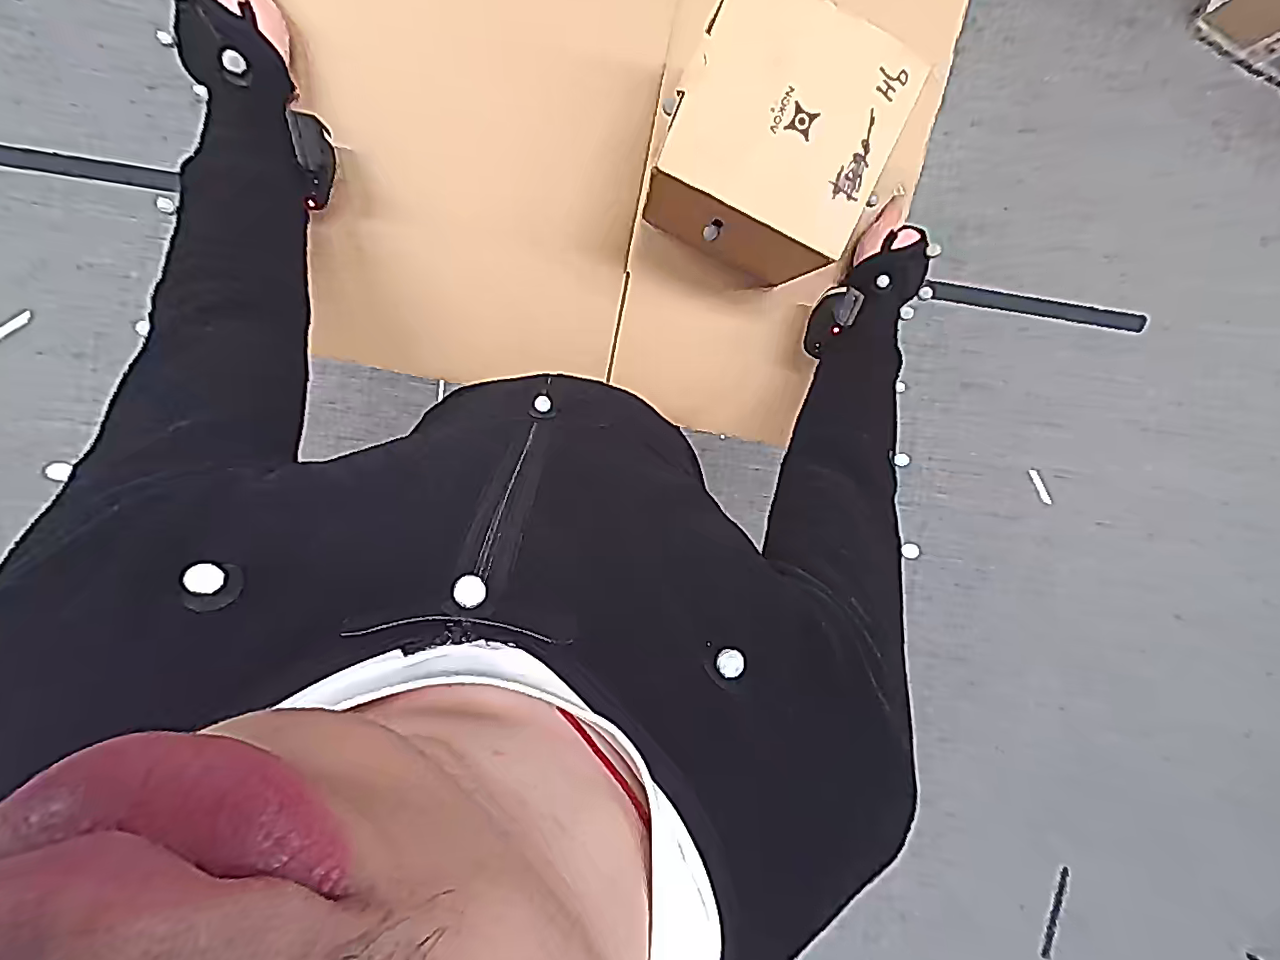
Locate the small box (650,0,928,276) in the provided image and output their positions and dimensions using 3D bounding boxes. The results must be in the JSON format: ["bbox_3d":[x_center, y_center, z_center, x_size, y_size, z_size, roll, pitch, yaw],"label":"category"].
[{"bbox_3d":[0.120,-0.315,0.519,0.179,0.176,0.168,24,100,-8],"label":"small box"}]
